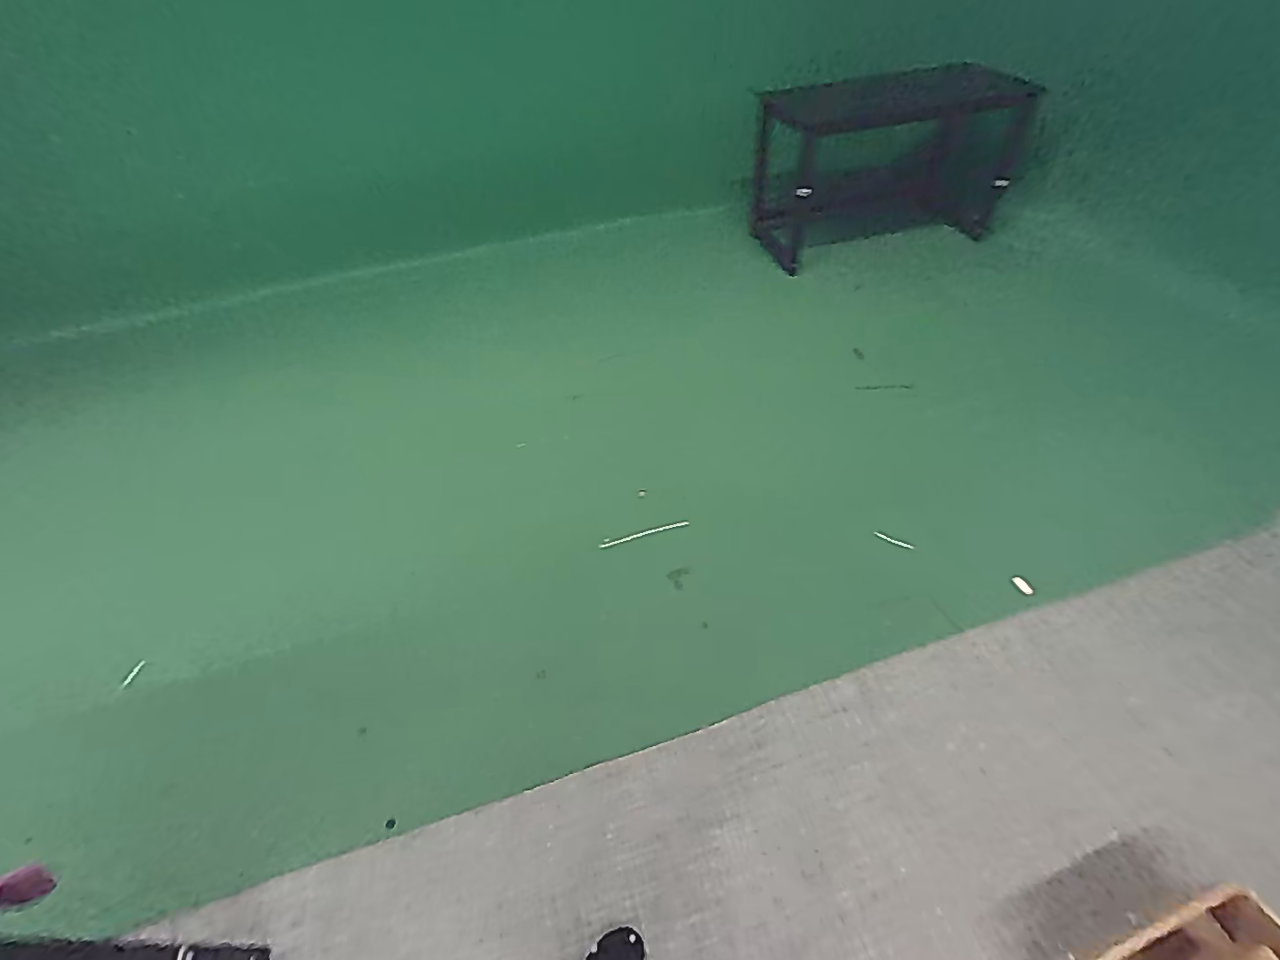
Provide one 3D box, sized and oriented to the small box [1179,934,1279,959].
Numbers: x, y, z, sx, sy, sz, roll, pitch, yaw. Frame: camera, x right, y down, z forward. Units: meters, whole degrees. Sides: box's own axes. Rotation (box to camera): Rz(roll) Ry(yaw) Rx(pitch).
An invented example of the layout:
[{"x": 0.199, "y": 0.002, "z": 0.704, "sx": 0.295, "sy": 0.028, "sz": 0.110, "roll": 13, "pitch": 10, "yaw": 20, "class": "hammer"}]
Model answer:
[{"x": 1.047, "y": 0.910, "z": 0.912, "sx": 0.168, "sy": 0.176, "sz": 0.179, "roll": -22, "pitch": 52, "yaw": -10, "class": "small box"}]
